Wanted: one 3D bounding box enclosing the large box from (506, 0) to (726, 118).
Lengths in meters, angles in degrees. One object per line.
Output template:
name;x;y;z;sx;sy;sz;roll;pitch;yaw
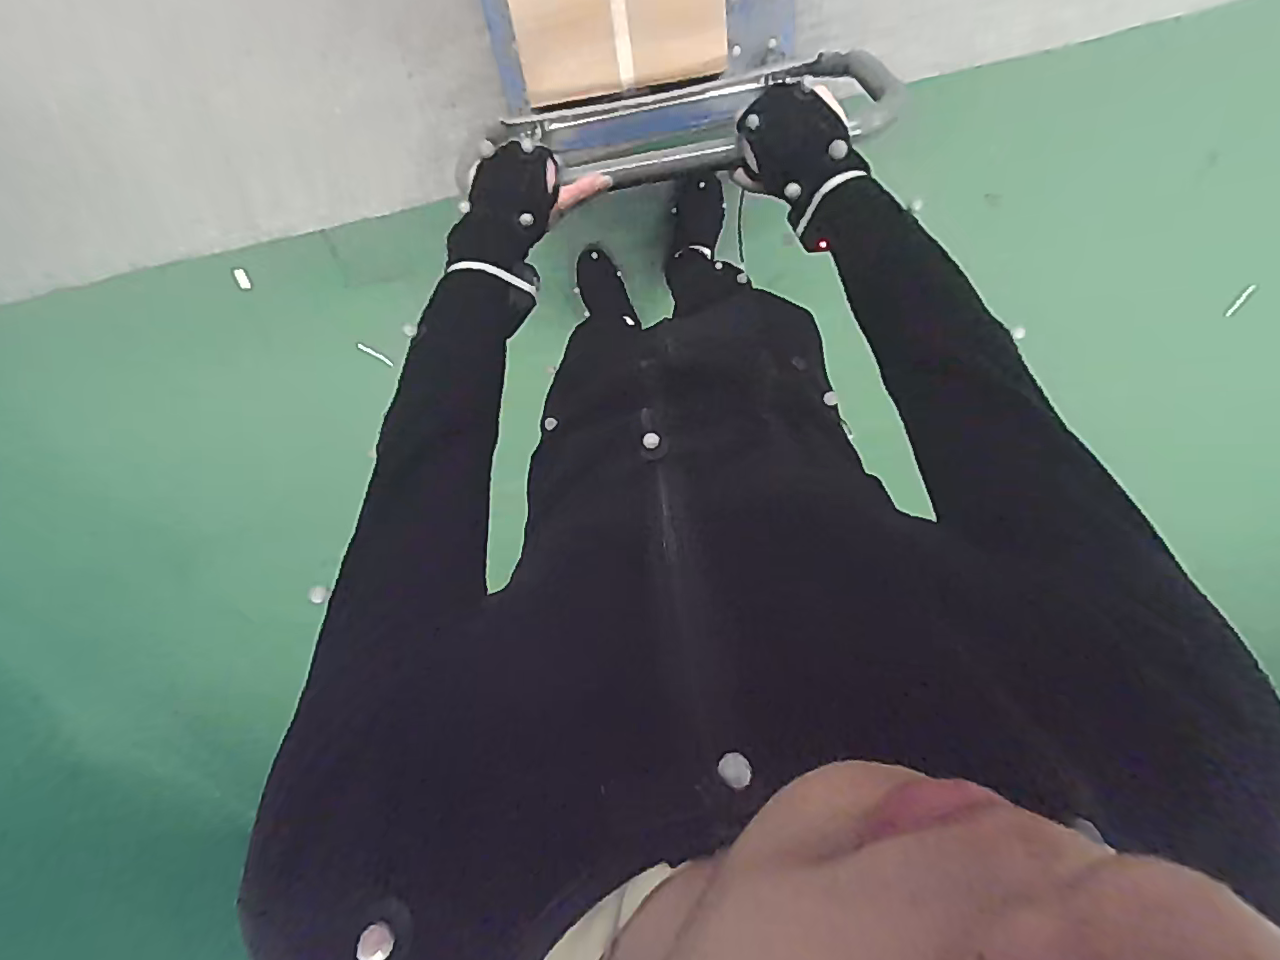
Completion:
large box;-0.051;-0.851;0.866;0.320;0.320;0.408;-8;121;5
